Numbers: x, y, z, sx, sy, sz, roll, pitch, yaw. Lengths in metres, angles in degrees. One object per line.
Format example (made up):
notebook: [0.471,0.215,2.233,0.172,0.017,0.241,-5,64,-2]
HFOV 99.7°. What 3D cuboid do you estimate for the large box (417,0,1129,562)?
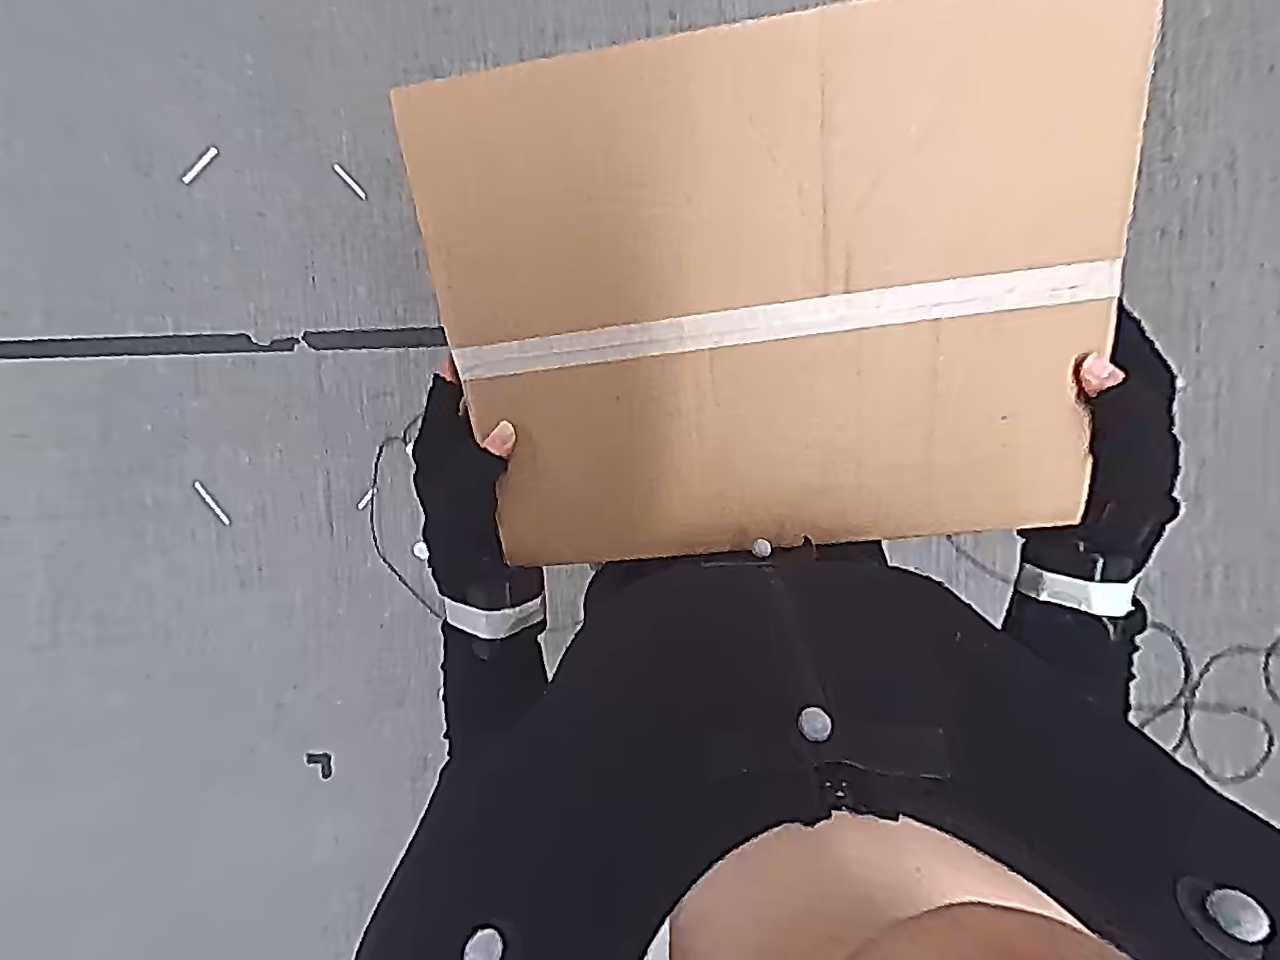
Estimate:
large box: [0.089,-0.149,0.489,0.408,0.320,0.320,-6,110,7]
